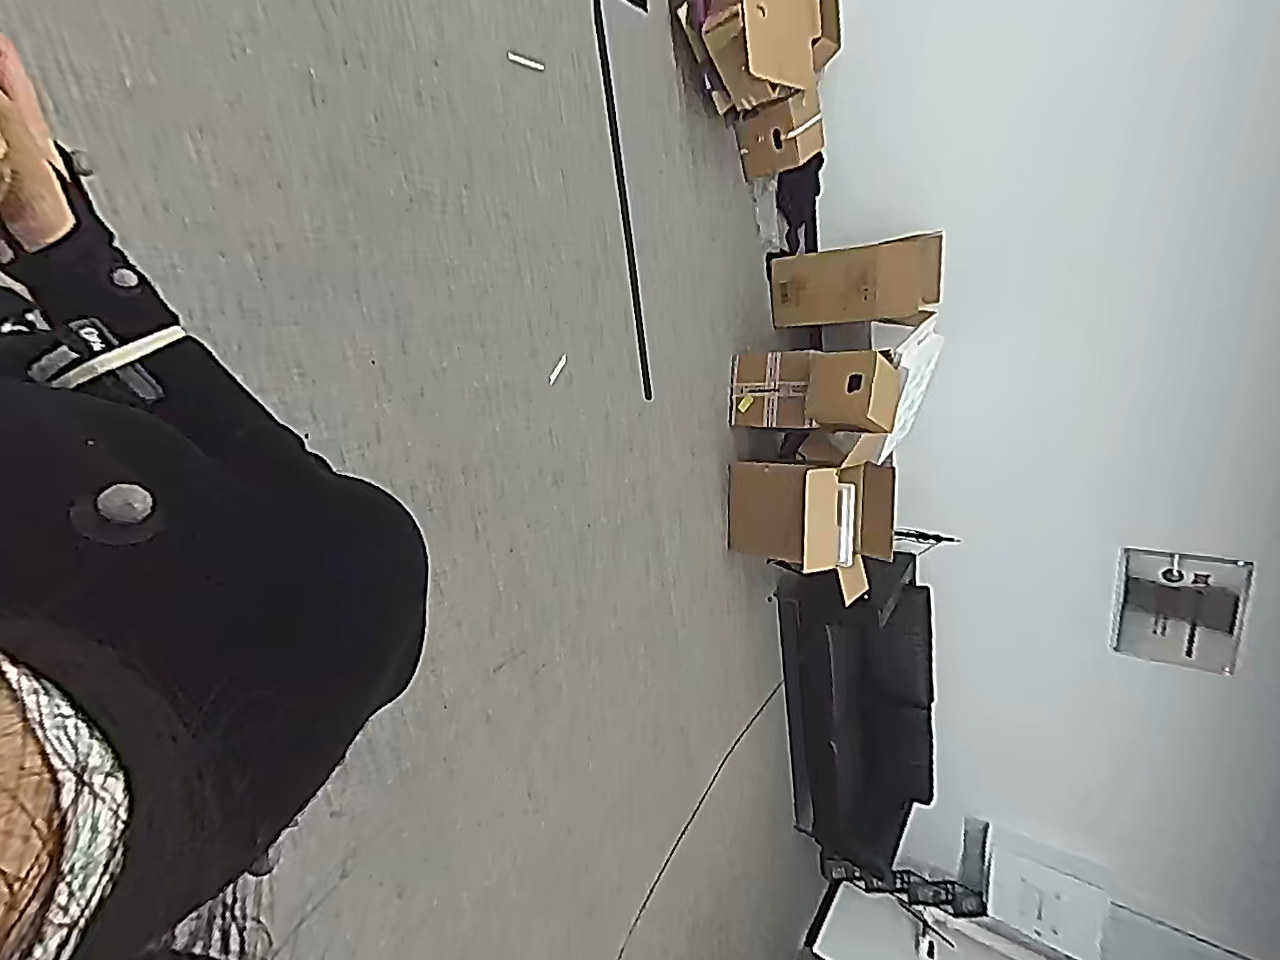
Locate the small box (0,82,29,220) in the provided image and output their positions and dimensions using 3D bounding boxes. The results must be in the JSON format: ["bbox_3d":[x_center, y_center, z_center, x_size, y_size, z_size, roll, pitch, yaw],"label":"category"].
[{"bbox_3d":[-0.418,-0.203,0.230,0.168,0.176,0.179,-24,107,-54],"label":"small box"}]
